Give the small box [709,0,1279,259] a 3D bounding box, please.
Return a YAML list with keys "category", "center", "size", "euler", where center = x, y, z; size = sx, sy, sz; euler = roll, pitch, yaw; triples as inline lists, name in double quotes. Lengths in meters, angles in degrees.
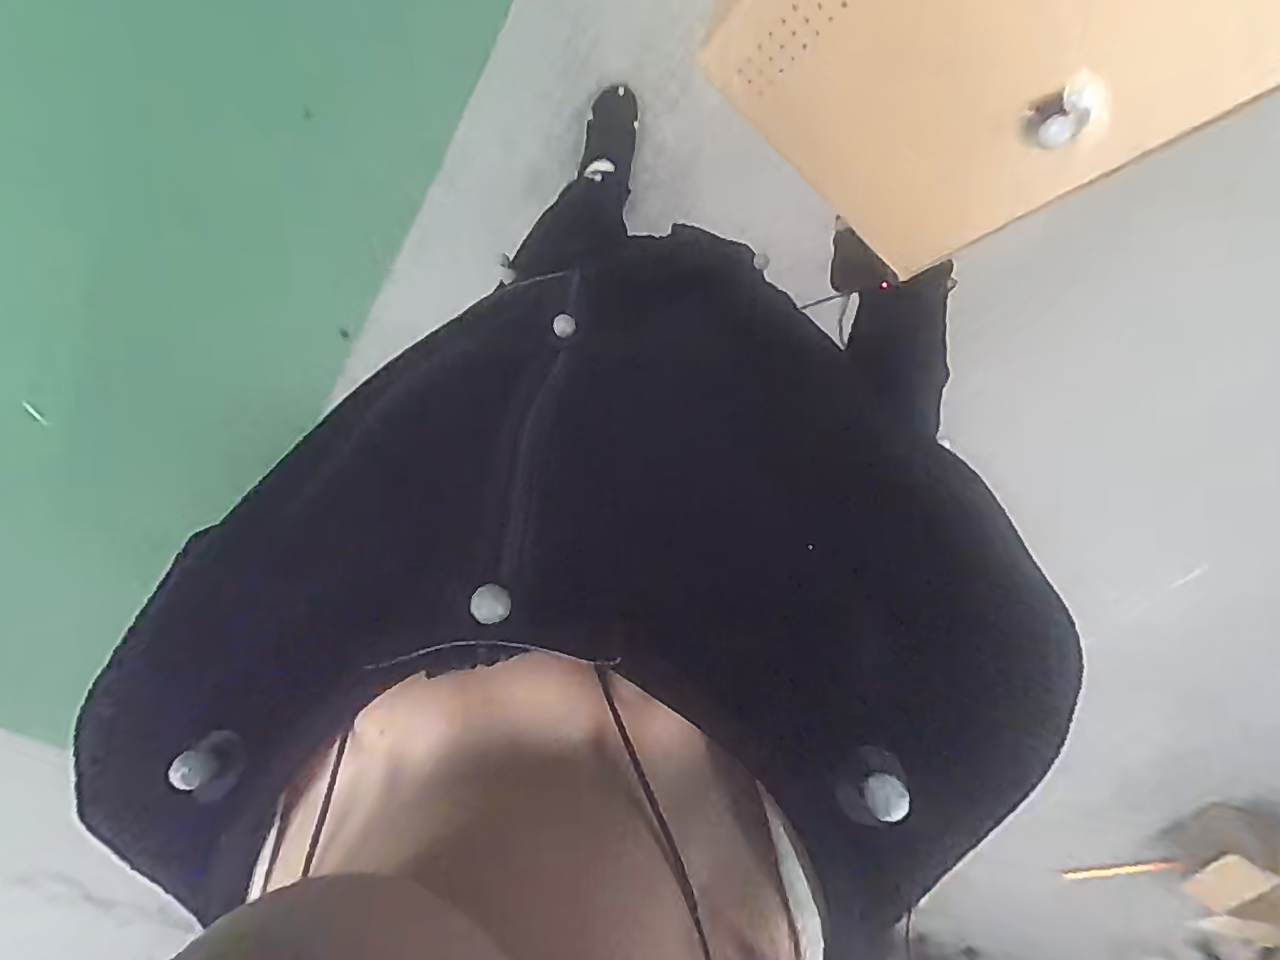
- category: "small box"
  center: [0.158, -0.241, 0.224]
  size: [0.176, 0.168, 0.179]
  euler: [30, 156, -28]
